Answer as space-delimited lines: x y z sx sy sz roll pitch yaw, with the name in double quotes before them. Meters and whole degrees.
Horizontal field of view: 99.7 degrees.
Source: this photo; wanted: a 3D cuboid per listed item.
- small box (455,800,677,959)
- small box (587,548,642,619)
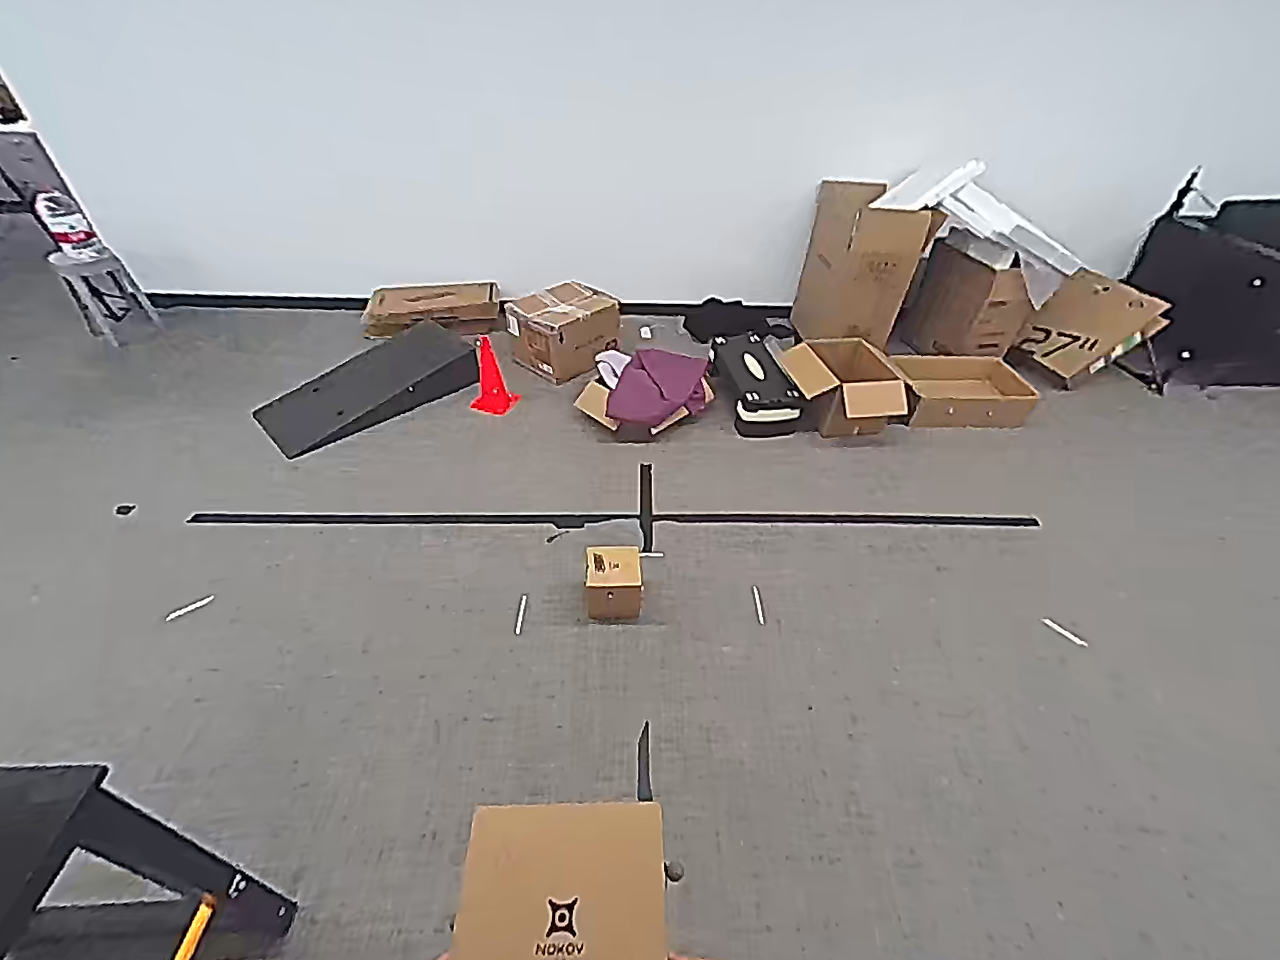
"small box" -0.054 0.398 0.464 0.168 0.176 0.179 -2 45 0
"small box" -0.086 0.345 1.794 0.179 0.176 0.168 -1 41 -4
